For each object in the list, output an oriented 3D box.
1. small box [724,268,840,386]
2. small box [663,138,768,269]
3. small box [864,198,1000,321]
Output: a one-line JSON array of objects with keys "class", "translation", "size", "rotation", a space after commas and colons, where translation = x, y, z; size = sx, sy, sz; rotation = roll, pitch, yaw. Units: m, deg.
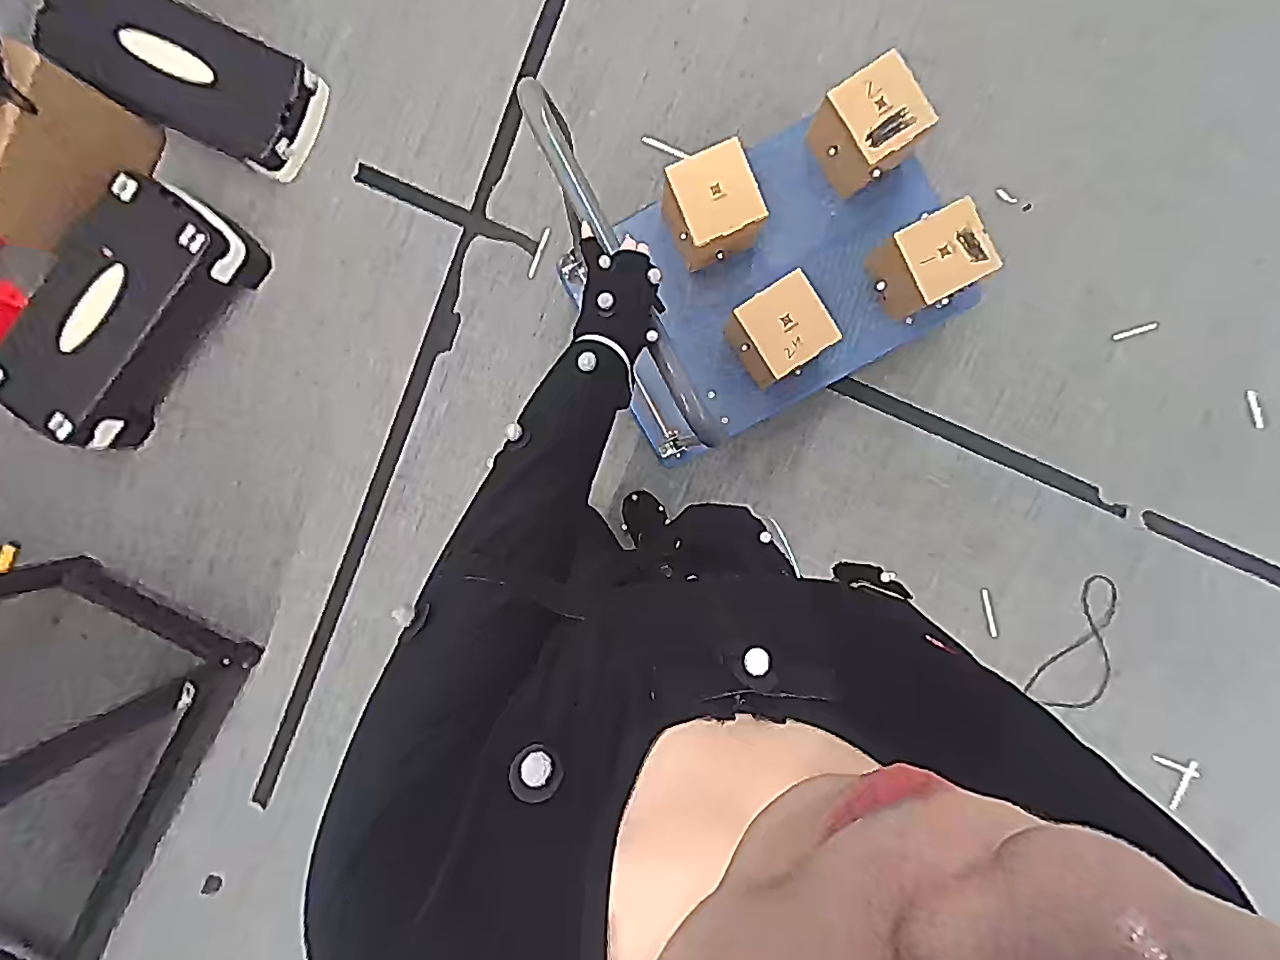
[{"class": "small box", "translation": [0.306, -0.330, 1.206], "size": [0.168, 0.176, 0.179], "rotation": [-32, 92, 2]}, {"class": "small box", "translation": [0.157, -0.599, 1.193], "size": [0.168, 0.176, 0.179], "rotation": [-23, 94, 1]}, {"class": "small box", "translation": [0.636, -0.478, 1.198], "size": [0.179, 0.176, 0.168], "rotation": [-27, 93, 2]}]
